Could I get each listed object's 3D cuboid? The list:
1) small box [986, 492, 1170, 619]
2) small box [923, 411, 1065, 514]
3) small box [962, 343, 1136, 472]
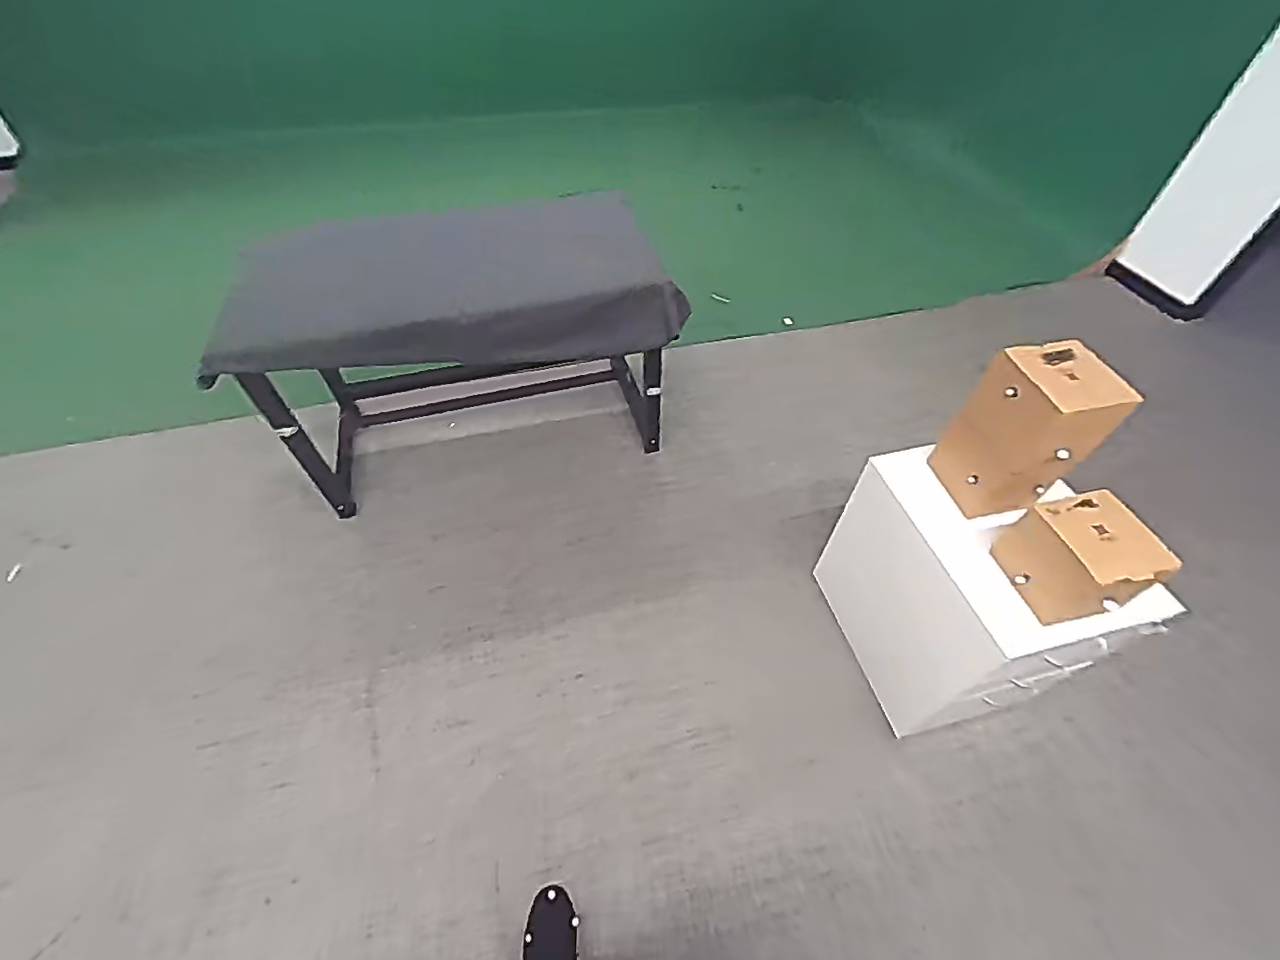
[{"bbox_3d":[0.815,0.150,1.030,0.168,0.176,0.179,-9,52,-9],"label":"small box"},{"bbox_3d":[0.765,-0.040,1.183,0.168,0.176,0.179,-9,52,-10],"label":"small box"},{"bbox_3d":[0.776,-0.140,1.052,0.168,0.176,0.179,-9,54,-9],"label":"small box"}]
